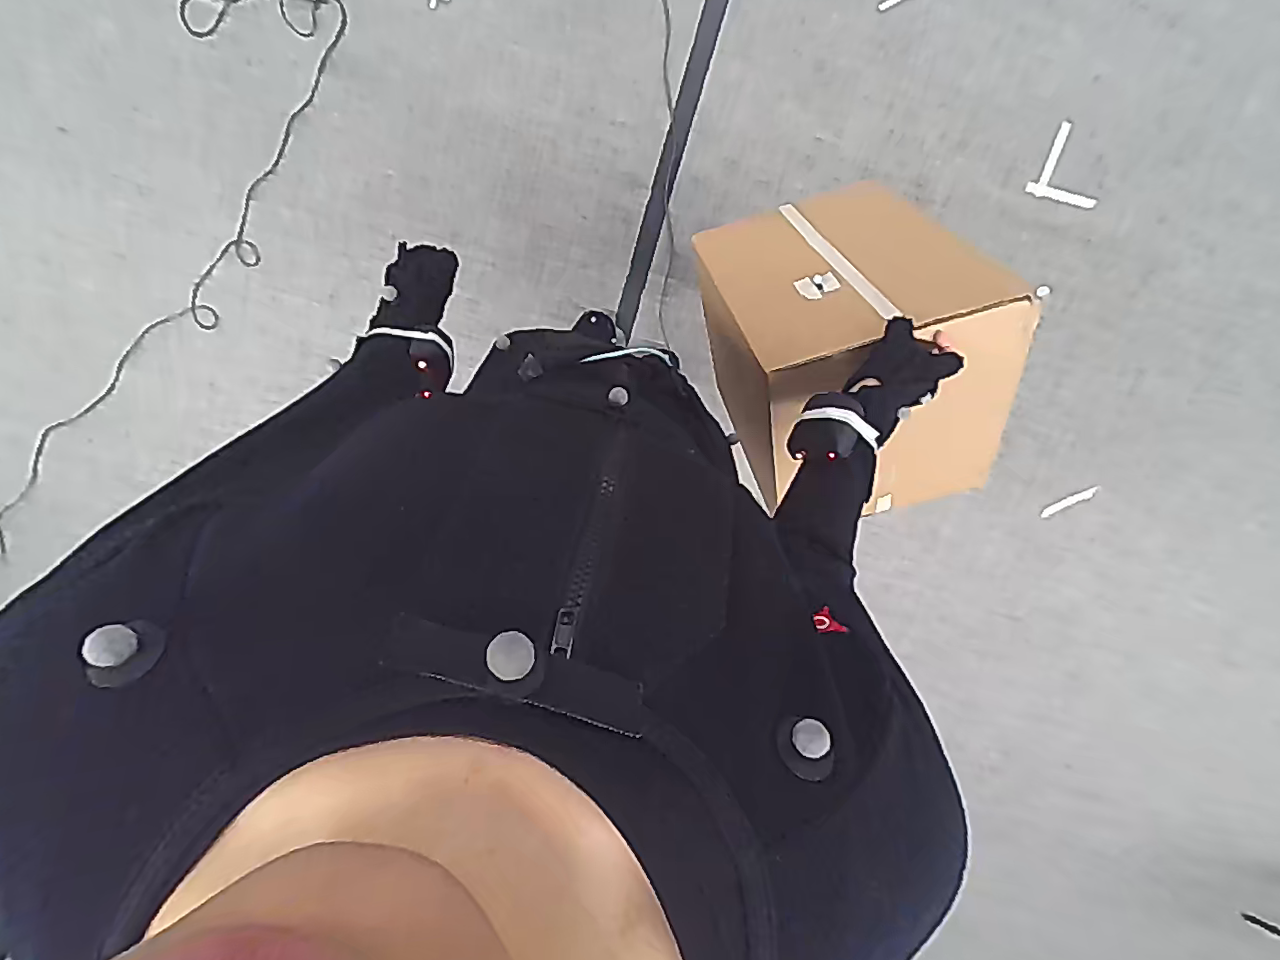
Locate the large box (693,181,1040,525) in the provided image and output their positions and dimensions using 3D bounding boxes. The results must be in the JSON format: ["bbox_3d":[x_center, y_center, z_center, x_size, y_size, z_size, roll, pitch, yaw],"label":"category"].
[{"bbox_3d":[0.298,-0.203,0.848,0.320,0.408,0.320,-17,137,4],"label":"large box"}]
